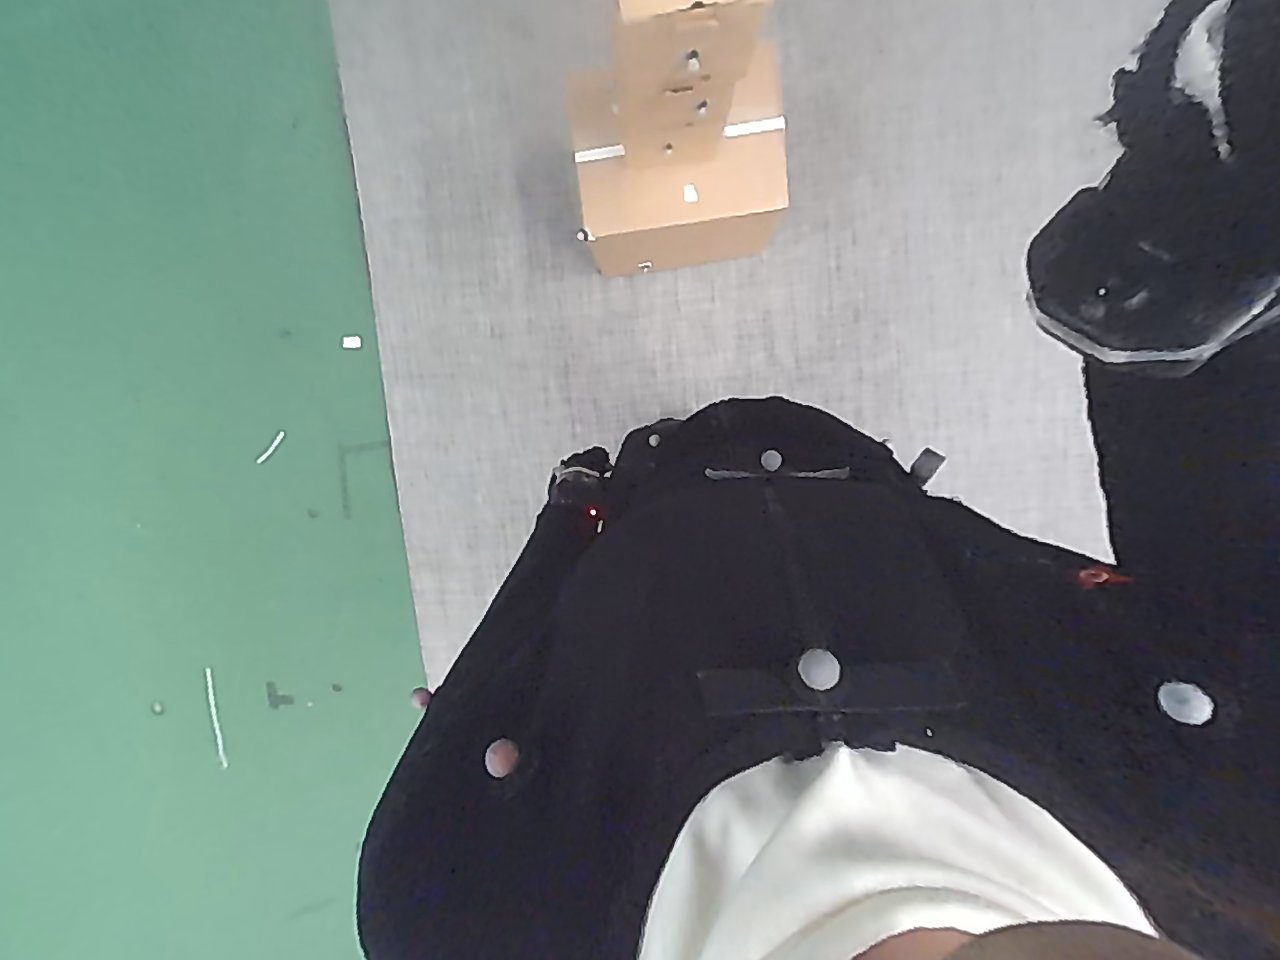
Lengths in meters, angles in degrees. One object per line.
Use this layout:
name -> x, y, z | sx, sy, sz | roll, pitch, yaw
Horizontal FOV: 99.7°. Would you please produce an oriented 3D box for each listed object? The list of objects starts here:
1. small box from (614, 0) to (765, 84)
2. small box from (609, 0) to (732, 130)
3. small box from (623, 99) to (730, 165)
small box -> 0.052, -0.605, 0.641 | 0.168, 0.176, 0.179 | -6, 103, 4
small box -> 0.046, -0.647, 0.799 | 0.168, 0.176, 0.179 | -6, 101, 4
small box -> 0.055, -0.683, 0.956 | 0.179, 0.176, 0.168 | -7, 103, 5
